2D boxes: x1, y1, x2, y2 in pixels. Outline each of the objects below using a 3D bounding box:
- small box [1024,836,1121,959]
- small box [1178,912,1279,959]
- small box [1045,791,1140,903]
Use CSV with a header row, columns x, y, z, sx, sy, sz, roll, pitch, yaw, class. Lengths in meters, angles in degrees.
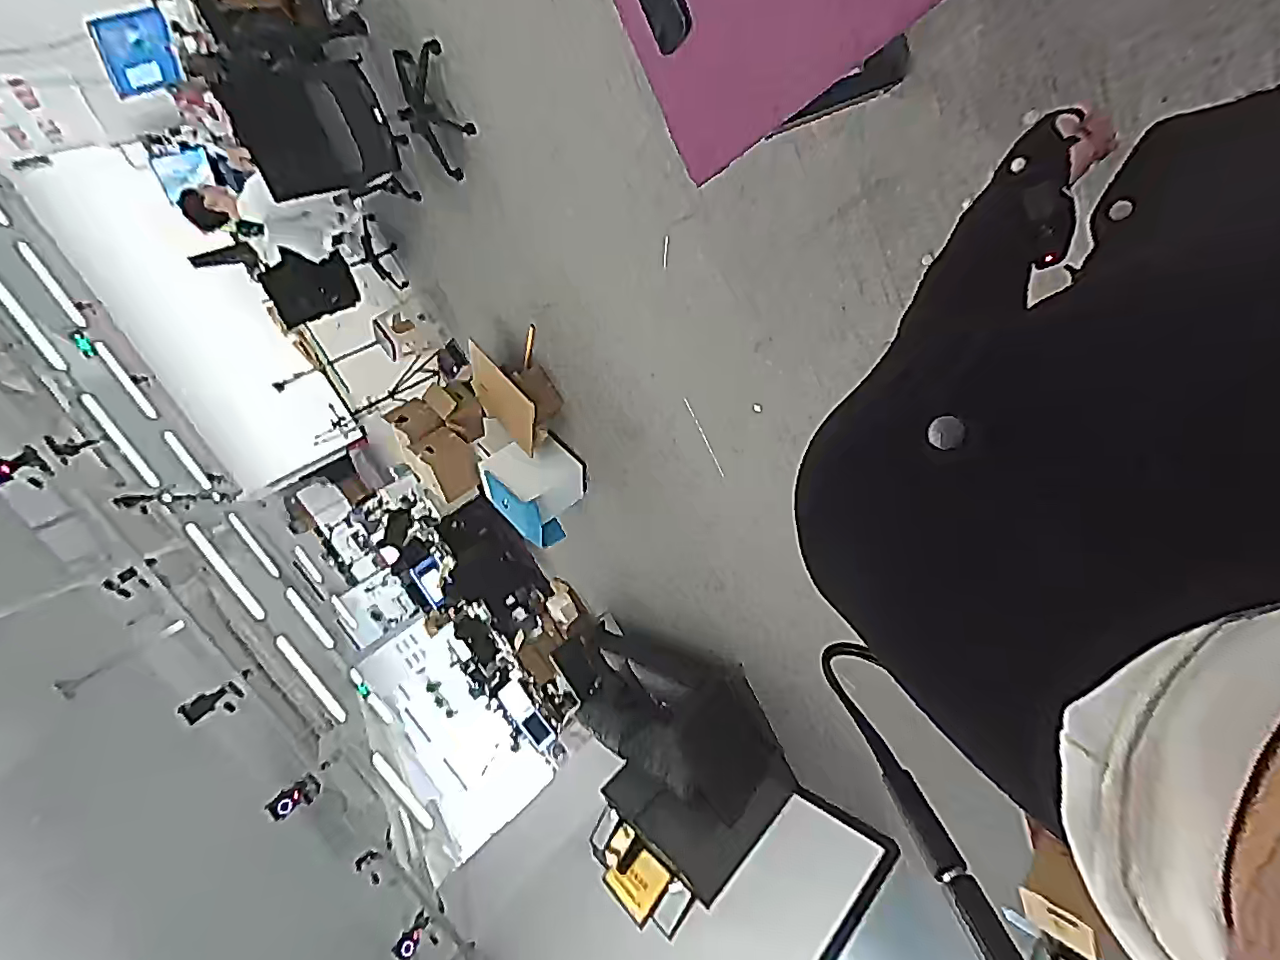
x,y,z,sx,sy,sz,roll,pitch,yaw,class
1.194,1.138,1.490,0.168,0.176,0.179,9,129,56,small box
1.362,1.159,1.236,0.168,0.176,0.179,9,128,54,small box
1.316,1.060,1.568,0.168,0.176,0.179,7,126,57,small box
